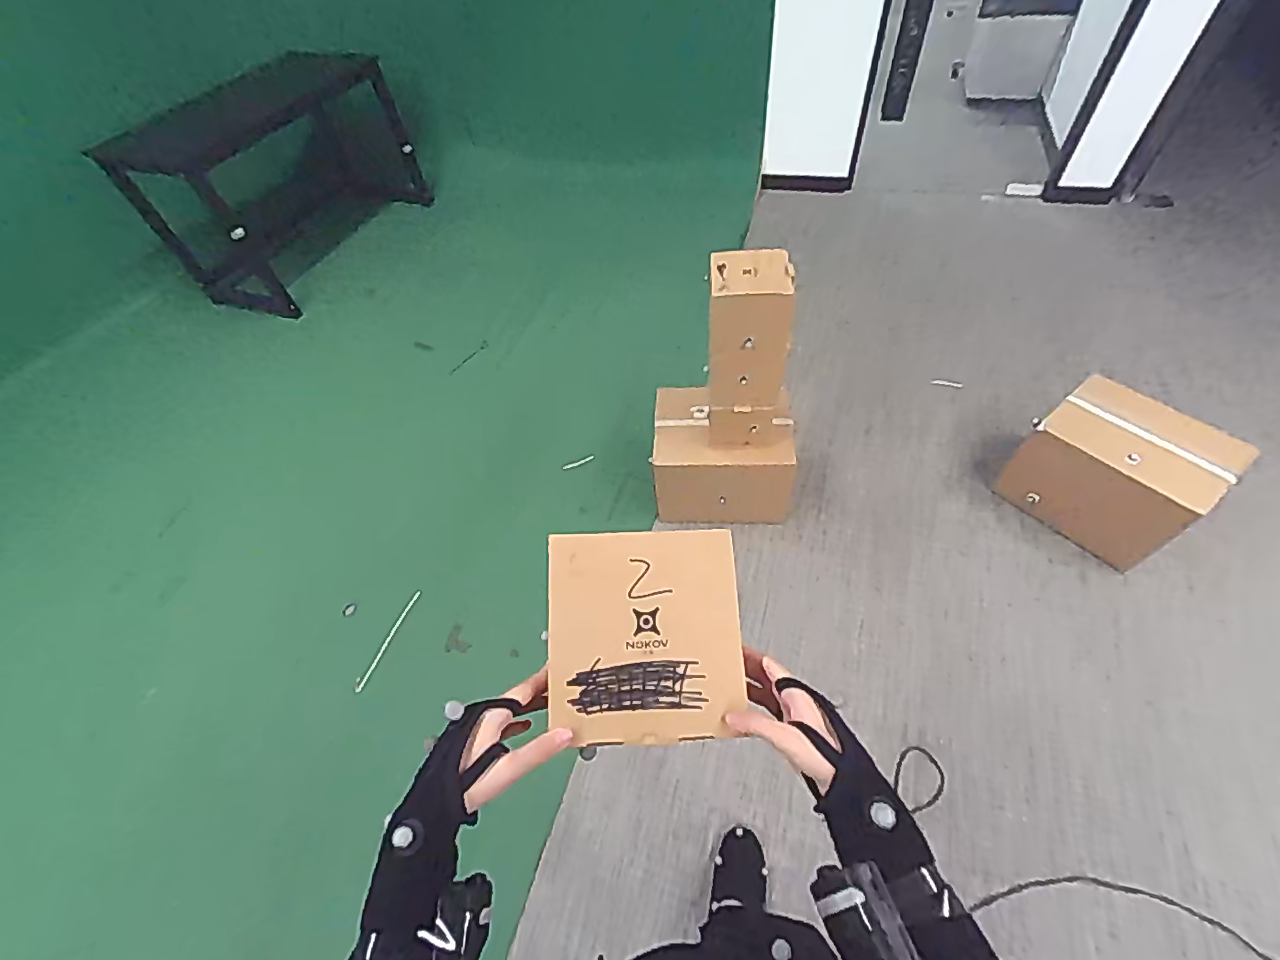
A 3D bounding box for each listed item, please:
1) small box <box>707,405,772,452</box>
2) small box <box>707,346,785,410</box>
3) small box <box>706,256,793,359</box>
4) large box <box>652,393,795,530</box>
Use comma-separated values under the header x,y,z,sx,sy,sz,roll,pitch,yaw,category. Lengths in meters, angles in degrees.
x,y,z,sx,sy,sz,roll,pitch,yaw,category
0.274,-0.191,1.507,0.168,0.176,0.179,0,52,6,small box
0.263,-0.293,1.380,0.179,0.176,0.168,-1,53,6,small box
0.246,-0.395,1.252,0.179,0.176,0.168,1,52,5,small box
0.255,-0.052,1.712,0.408,0.320,0.320,-1,51,7,large box
